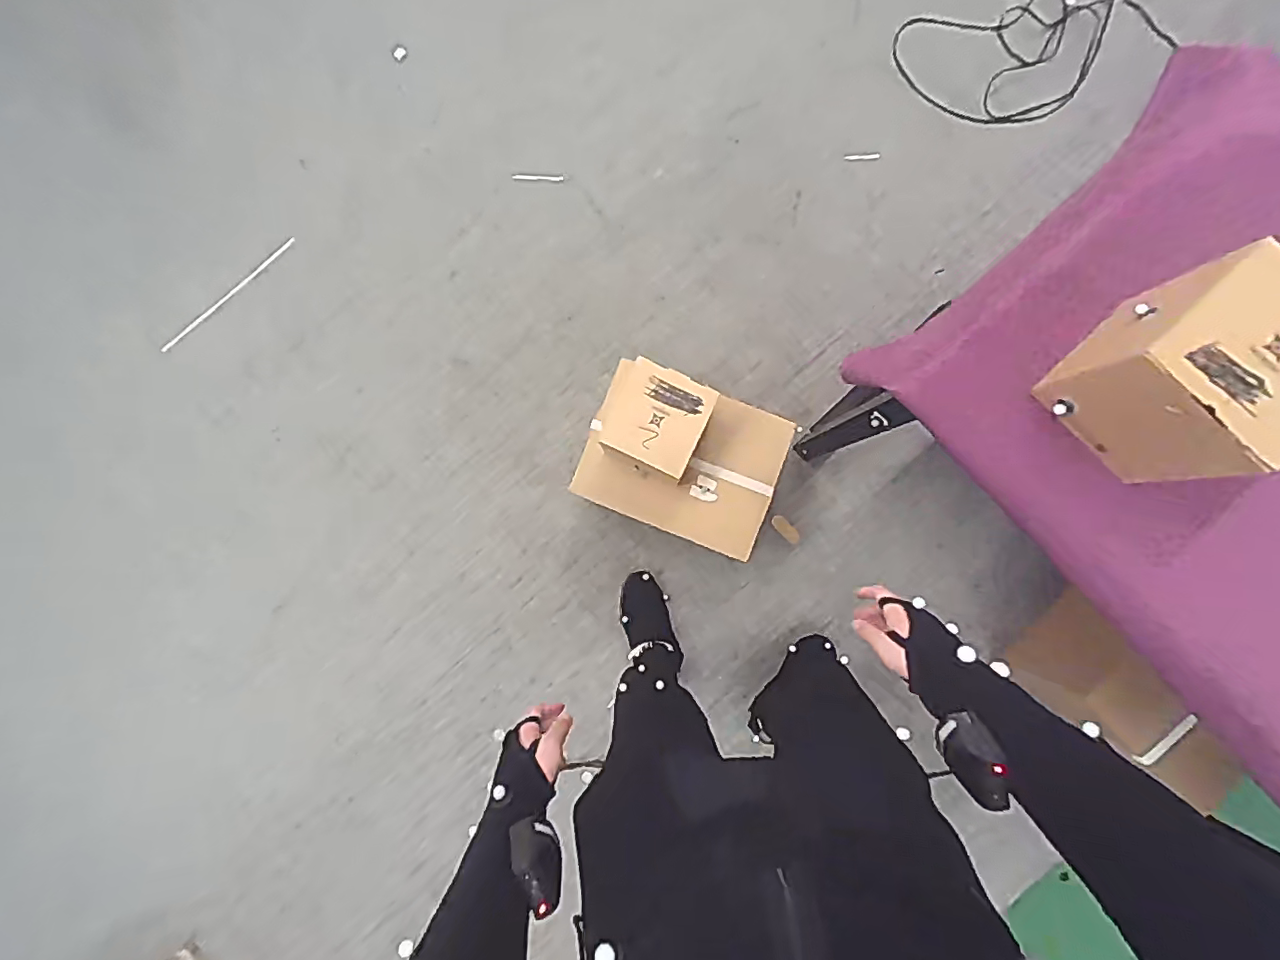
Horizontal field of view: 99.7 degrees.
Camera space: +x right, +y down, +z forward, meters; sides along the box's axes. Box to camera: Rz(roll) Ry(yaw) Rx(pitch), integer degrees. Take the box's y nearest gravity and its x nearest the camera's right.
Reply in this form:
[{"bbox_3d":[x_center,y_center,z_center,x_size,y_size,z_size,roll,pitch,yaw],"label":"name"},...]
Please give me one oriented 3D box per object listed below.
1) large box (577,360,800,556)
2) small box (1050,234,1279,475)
[{"bbox_3d":[0.102,-0.038,1.283,0.408,0.320,0.320,21,88,2],"label":"large box"},{"bbox_3d":[0.615,-0.122,0.606,0.179,0.176,0.168,-43,86,-3],"label":"small box"}]
